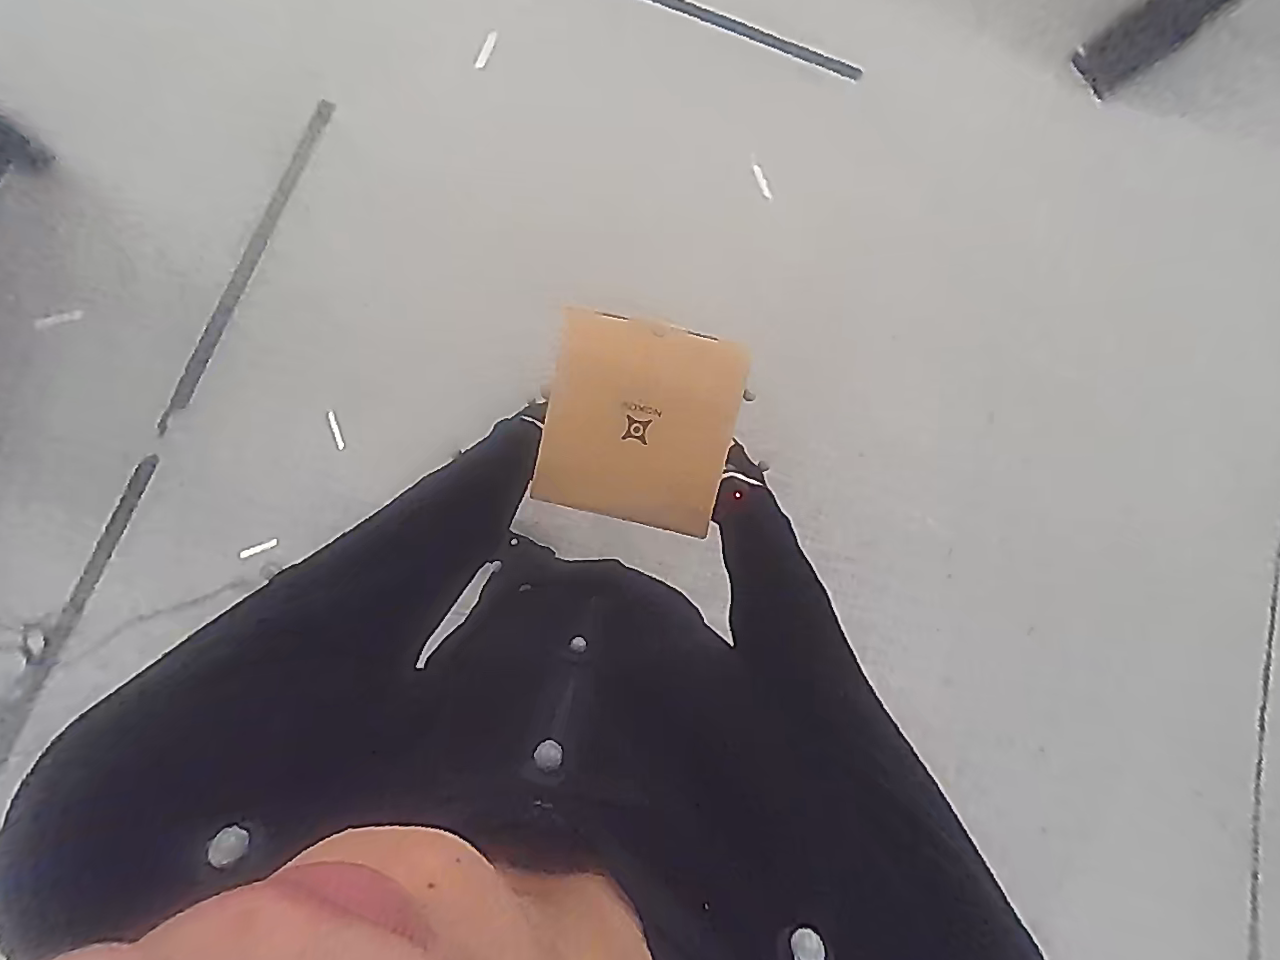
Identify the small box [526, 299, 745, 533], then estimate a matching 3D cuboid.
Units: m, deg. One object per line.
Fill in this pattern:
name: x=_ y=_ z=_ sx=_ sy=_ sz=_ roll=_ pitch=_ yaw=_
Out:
small box: x=-0.001 y=-0.065 z=0.548 sx=0.168 sy=0.176 sz=0.179 roll=12 pitch=98 yaw=2
